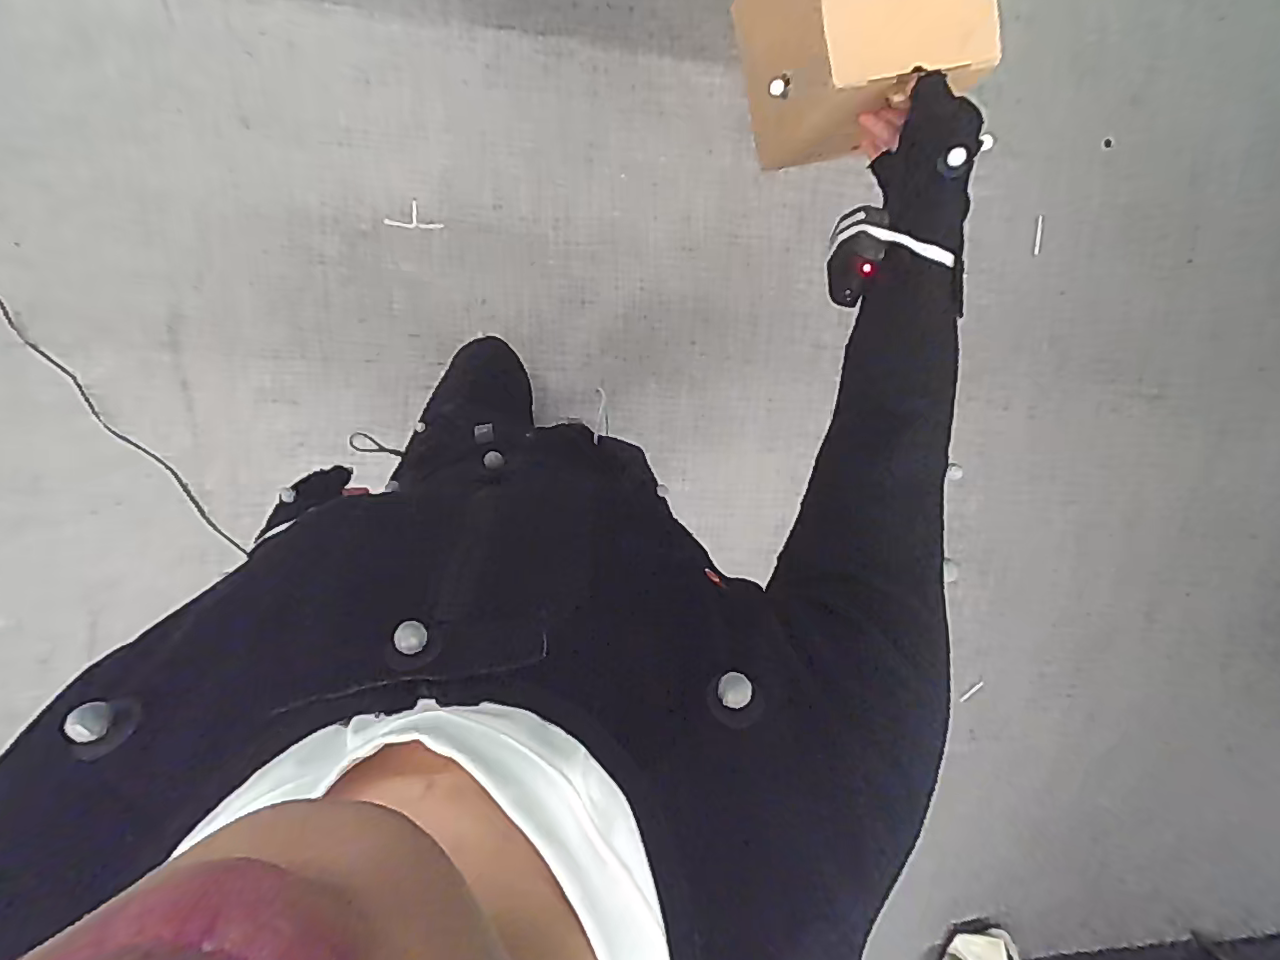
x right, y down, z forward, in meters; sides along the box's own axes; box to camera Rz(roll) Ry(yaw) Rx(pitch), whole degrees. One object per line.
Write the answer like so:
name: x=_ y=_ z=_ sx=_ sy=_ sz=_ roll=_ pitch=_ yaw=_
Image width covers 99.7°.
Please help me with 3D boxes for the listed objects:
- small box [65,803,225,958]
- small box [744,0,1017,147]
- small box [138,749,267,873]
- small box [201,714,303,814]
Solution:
small box: x=-0.933 y=0.757 z=1.036 sx=0.168 sy=0.176 sz=0.179 roll=4 pitch=96 yaw=-9
small box: x=0.213 y=-0.446 z=0.514 sx=0.168 sy=0.176 sz=0.179 roll=-14 pitch=100 yaw=-7
small box: x=-0.956 y=0.728 z=1.194 sx=0.168 sy=0.176 sz=0.179 roll=4 pitch=96 yaw=-9
small box: x=-0.973 y=0.708 z=1.357 sx=0.179 sy=0.176 sz=0.168 roll=3 pitch=96 yaw=-9
